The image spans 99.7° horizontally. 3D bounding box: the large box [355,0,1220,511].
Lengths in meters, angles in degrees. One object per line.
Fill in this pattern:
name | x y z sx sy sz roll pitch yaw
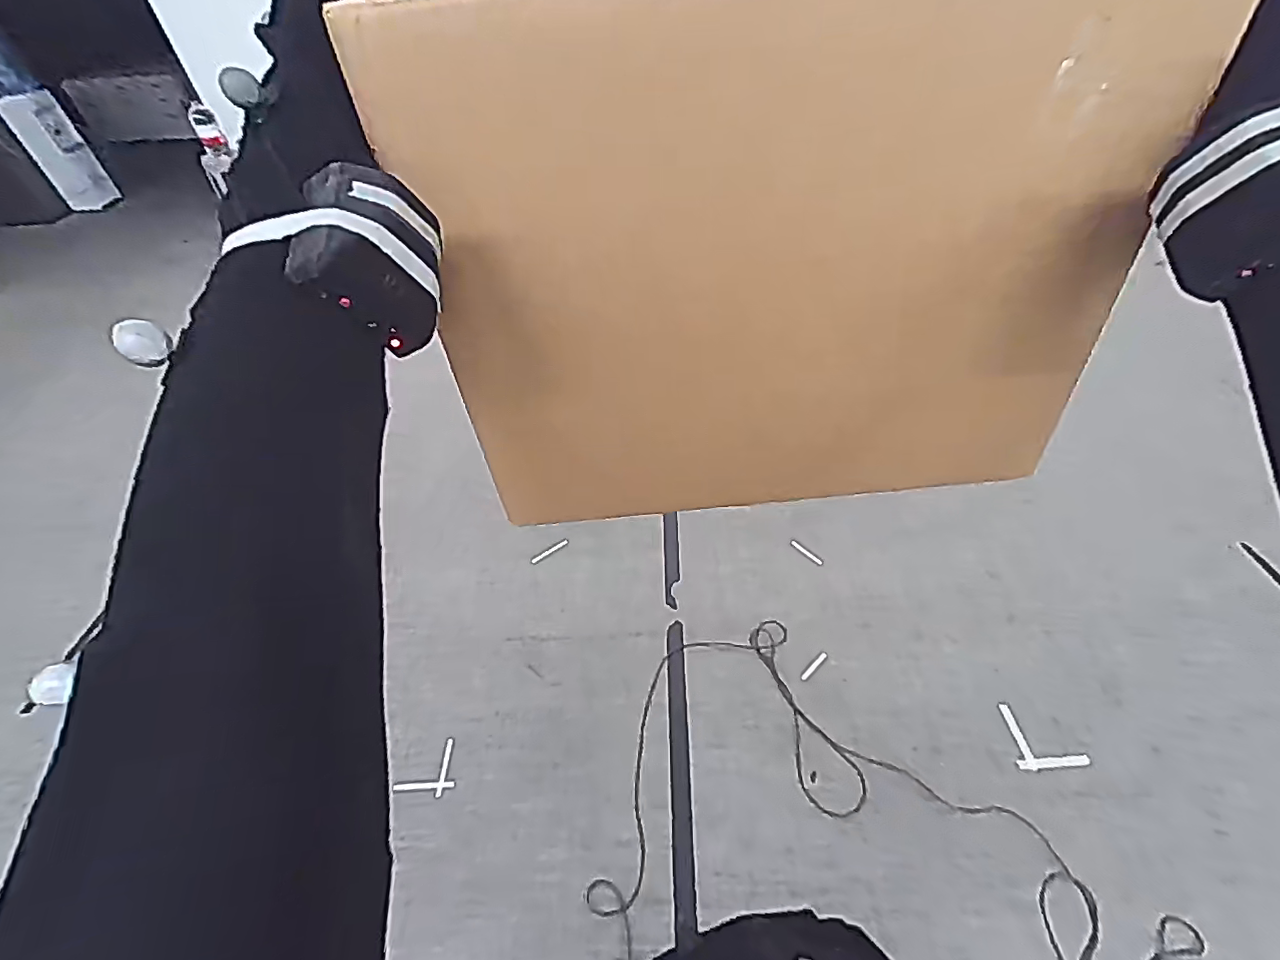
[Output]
large box | 0.075 -0.201 0.440 0.408 0.320 0.320 -5 41 2
